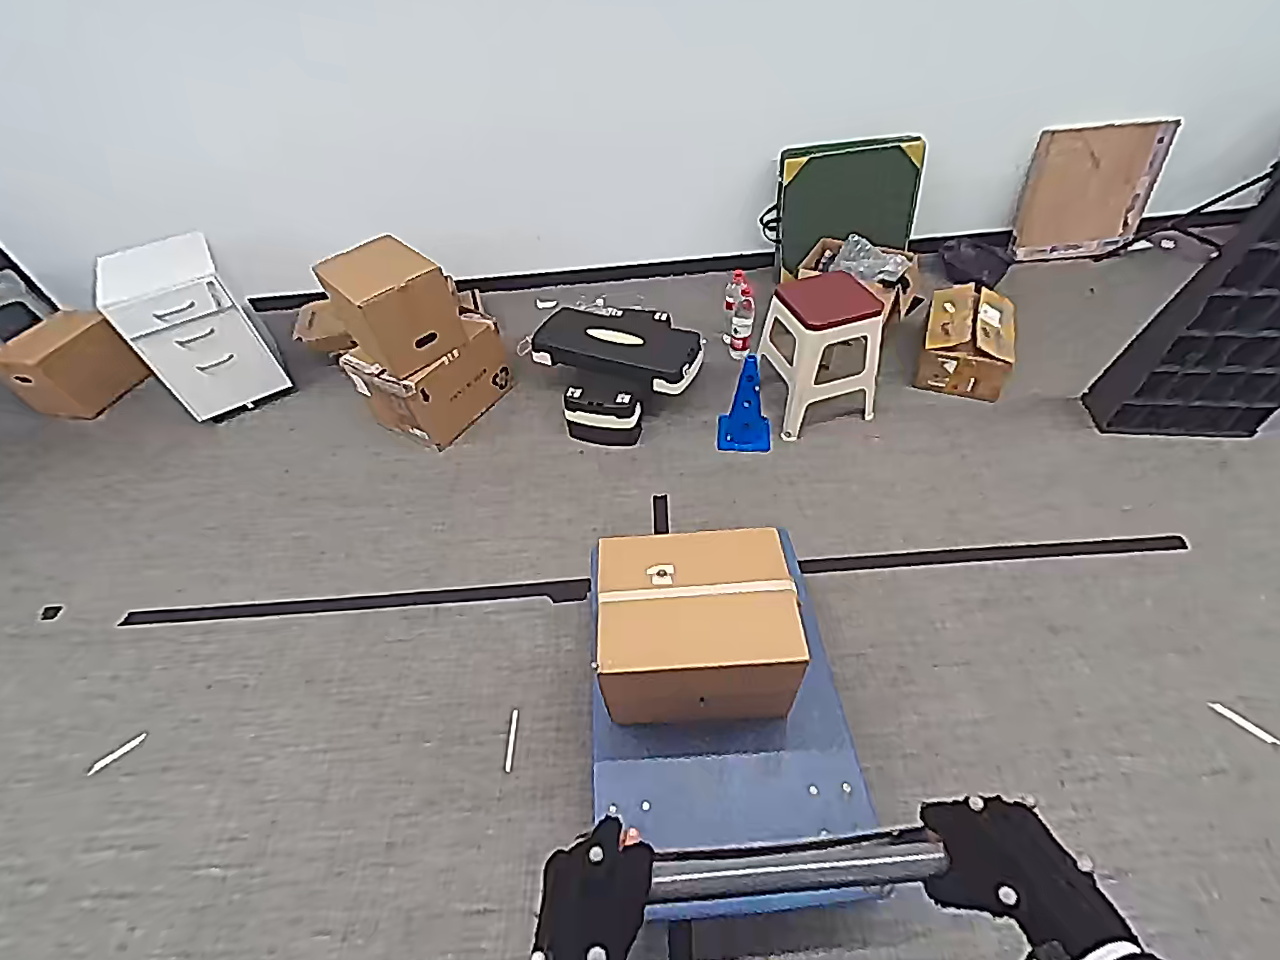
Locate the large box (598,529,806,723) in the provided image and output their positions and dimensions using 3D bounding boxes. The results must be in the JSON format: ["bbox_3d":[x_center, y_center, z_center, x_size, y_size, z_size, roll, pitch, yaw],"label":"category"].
[{"bbox_3d":[0.124,0.340,1.236,0.408,0.320,0.320,-5,48,2],"label":"large box"}]
